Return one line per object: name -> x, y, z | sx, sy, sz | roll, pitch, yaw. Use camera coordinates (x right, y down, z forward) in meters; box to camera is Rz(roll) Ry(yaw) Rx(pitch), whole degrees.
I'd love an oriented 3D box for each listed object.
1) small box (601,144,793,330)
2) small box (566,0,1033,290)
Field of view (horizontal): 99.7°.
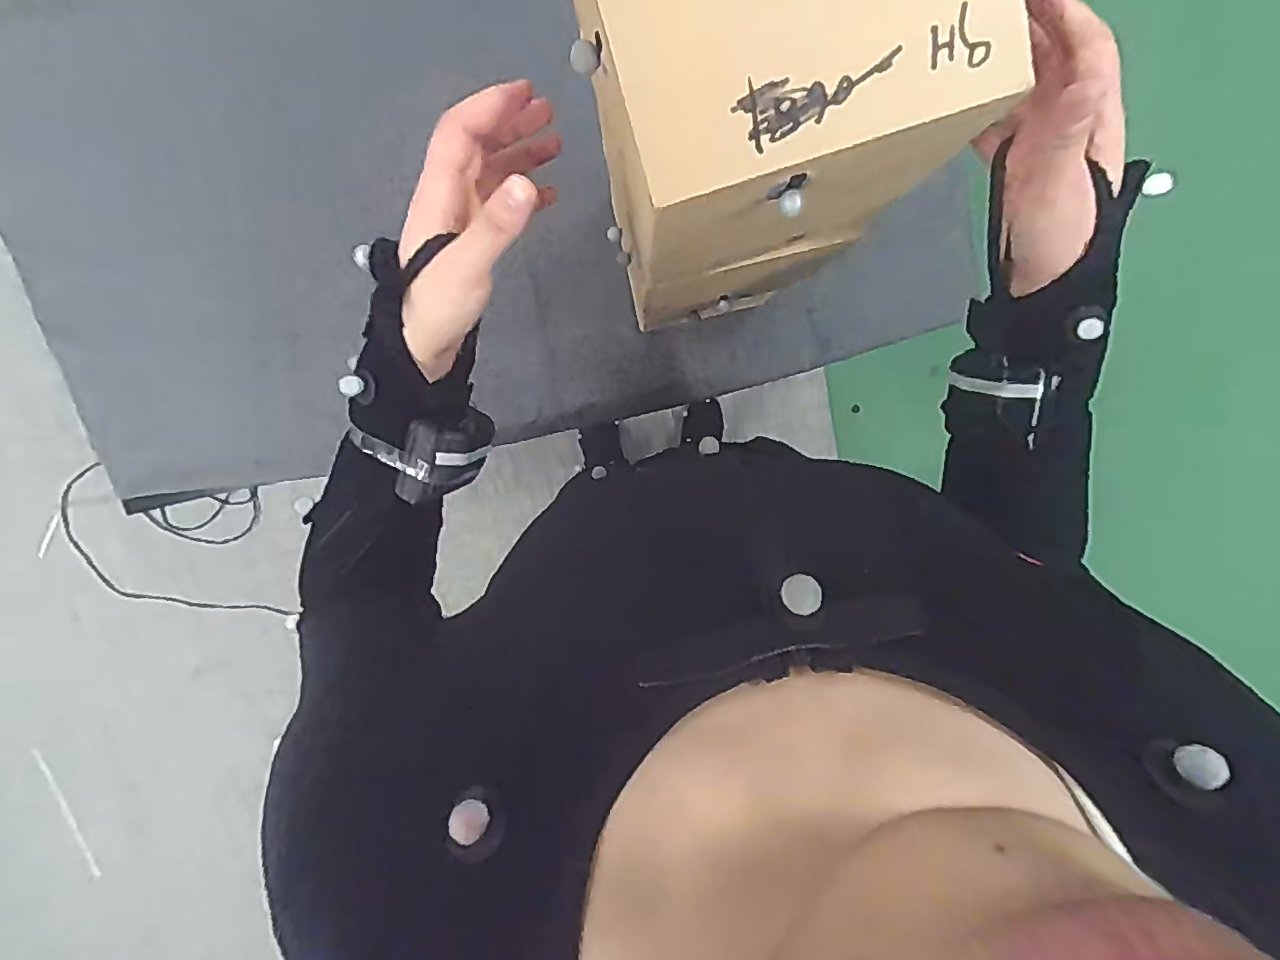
small box -> 0.060, -0.275, 0.612 | 0.168, 0.176, 0.179 | -13, 98, 2
small box -> 0.056, -0.223, 0.287 | 0.168, 0.176, 0.179 | -16, 98, 4
